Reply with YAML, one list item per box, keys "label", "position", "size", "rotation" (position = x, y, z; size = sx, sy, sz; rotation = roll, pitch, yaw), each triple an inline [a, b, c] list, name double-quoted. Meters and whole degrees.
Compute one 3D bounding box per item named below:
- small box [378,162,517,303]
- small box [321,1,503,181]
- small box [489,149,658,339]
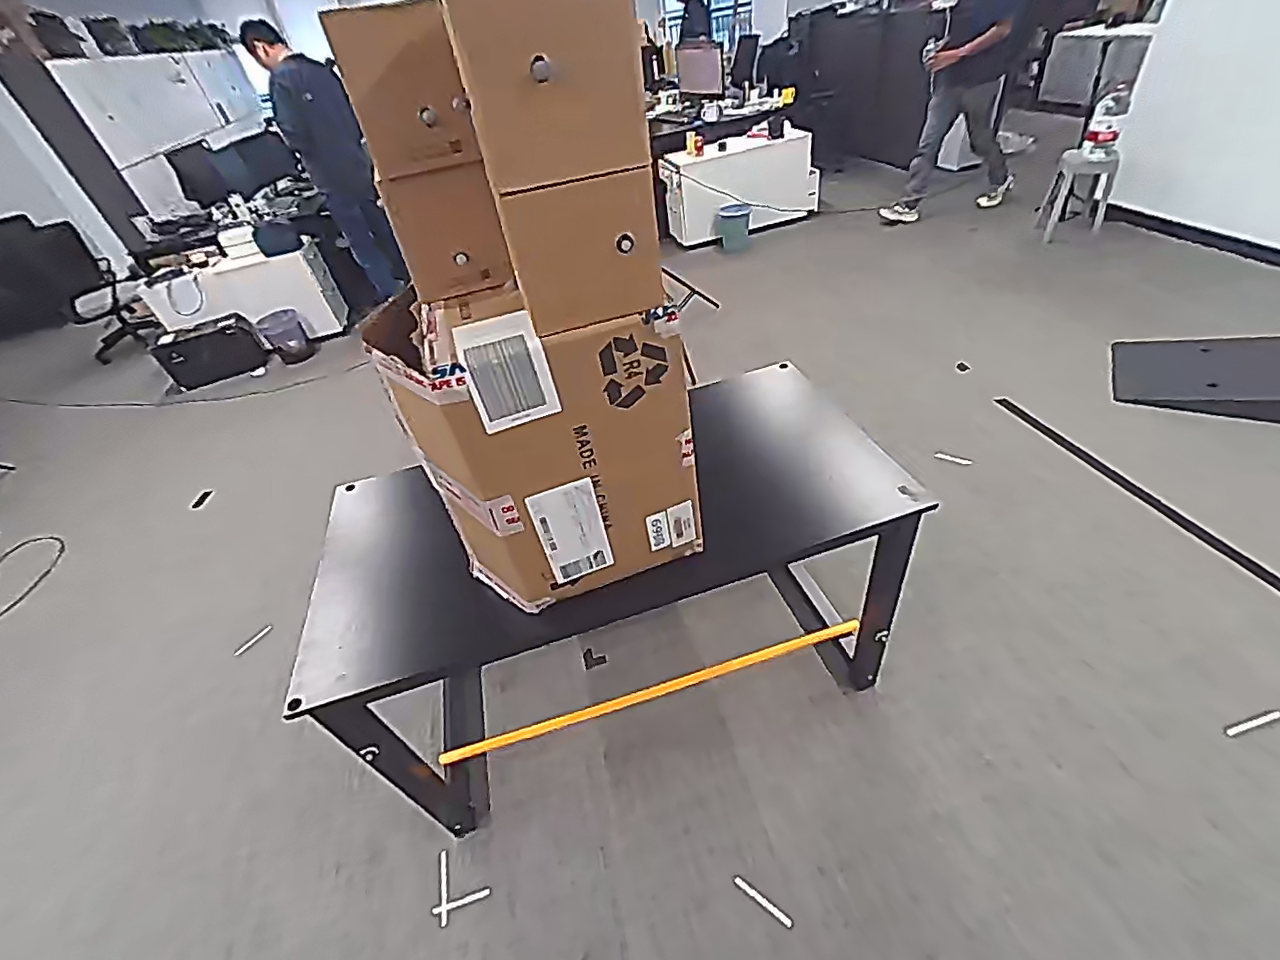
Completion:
- label: "small box"
  position: [-0.287, -0.394, 0.840]
  size: [0.168, 0.176, 0.179]
  rotation: [-19, 41, -11]
- label: "small box"
  position: [-0.300, -0.518, 0.730]
  size: [0.168, 0.176, 0.179]
  rotation: [-21, 40, -12]
- label: "small box"
  position: [-0.082, -0.308, 0.706]
  size: [0.179, 0.176, 0.168]
  rotation: [-18, 41, -8]
